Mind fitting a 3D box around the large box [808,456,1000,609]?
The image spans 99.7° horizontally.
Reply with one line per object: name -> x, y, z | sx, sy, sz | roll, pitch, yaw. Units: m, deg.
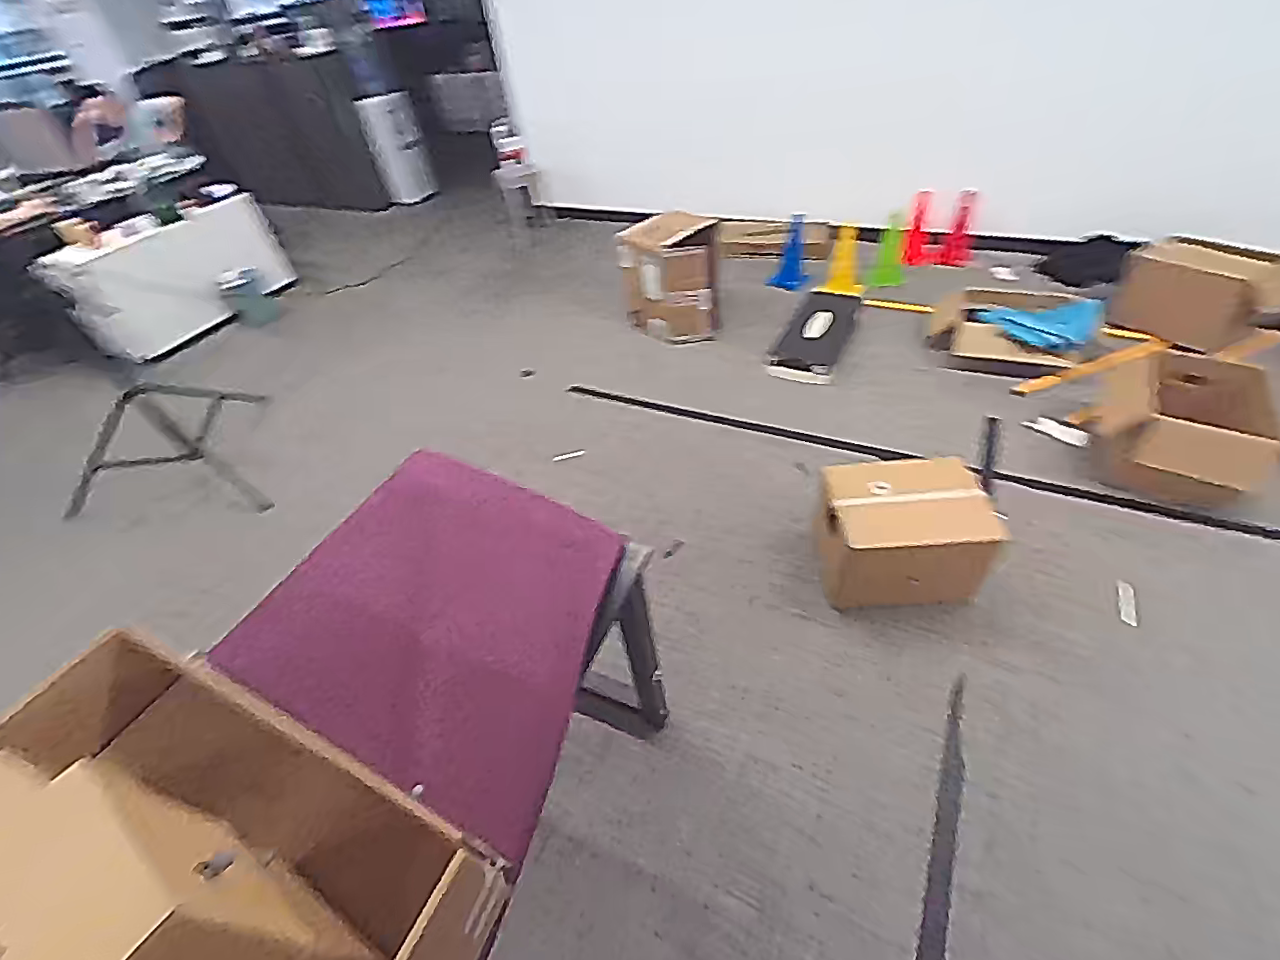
large box -> 0.751, 0.162, 1.615 | 0.408, 0.320, 0.320 | -6, 44, 4
